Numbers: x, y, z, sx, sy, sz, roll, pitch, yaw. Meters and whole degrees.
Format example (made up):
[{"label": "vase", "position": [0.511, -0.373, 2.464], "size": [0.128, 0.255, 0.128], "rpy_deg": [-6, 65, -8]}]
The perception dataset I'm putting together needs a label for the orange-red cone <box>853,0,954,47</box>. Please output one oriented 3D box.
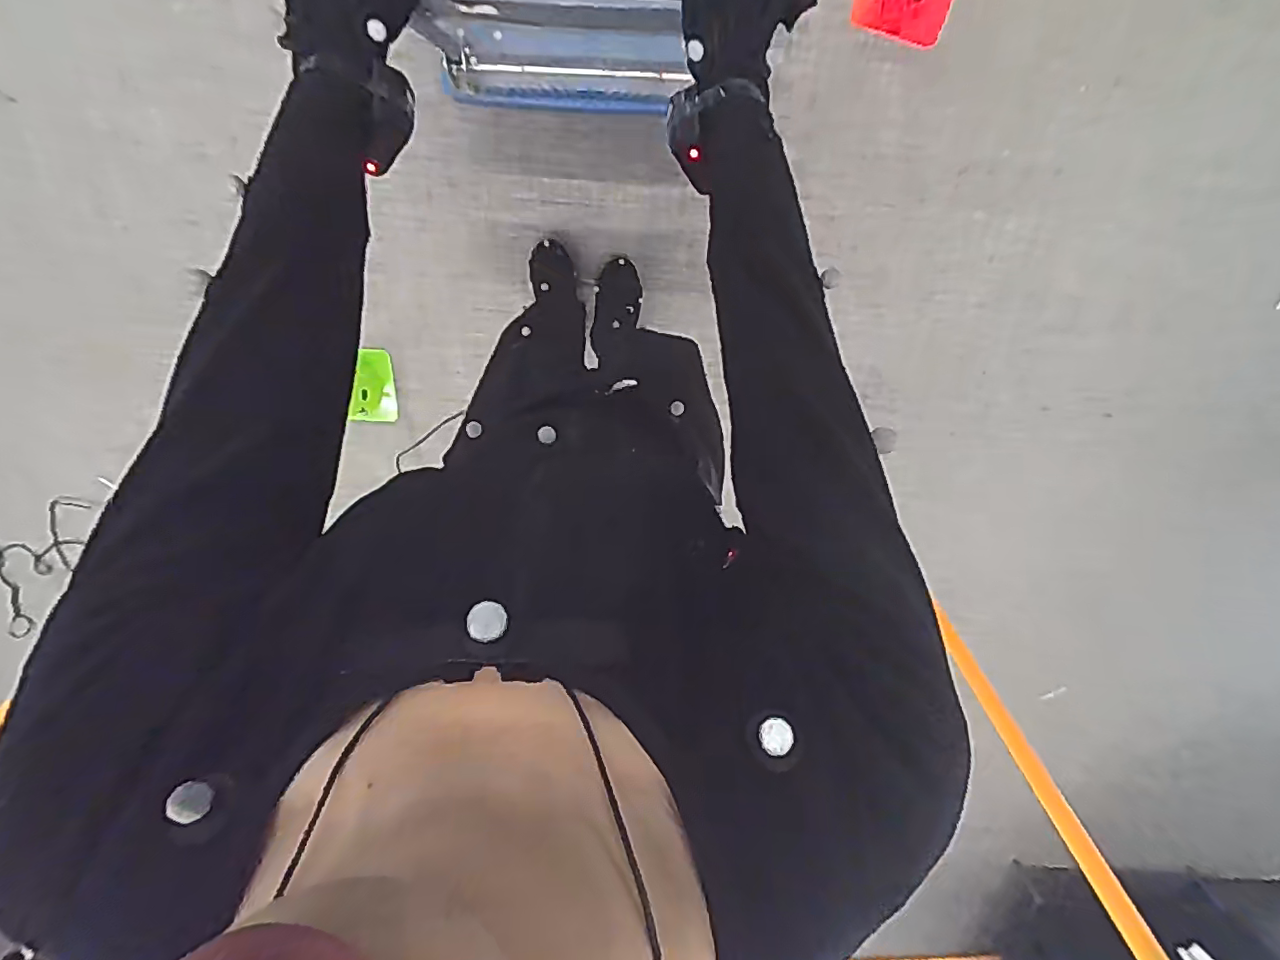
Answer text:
[{"label": "orange-red cone", "position": [0.559, -0.957, 0.953], "size": [0.198, 0.360, 0.199], "rpy_deg": [14, 115, -6]}]
